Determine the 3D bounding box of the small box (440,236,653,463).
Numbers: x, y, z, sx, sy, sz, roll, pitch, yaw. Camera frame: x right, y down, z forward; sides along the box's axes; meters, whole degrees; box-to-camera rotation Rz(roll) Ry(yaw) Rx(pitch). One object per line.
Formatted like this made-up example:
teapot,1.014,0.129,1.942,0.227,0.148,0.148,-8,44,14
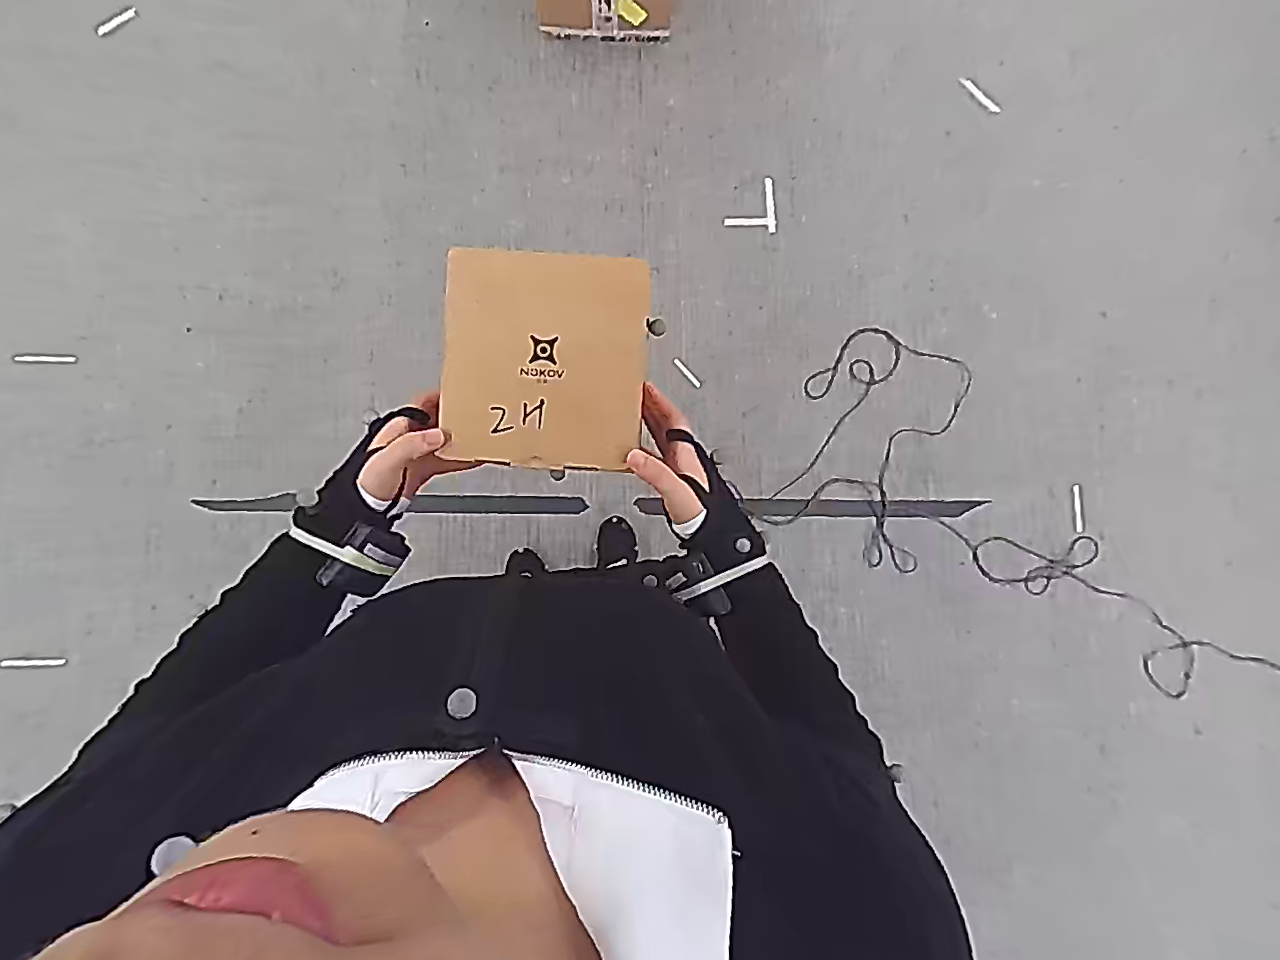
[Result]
small box,-0.077,-0.110,0.525,0.168,0.176,0.179,4,92,1
